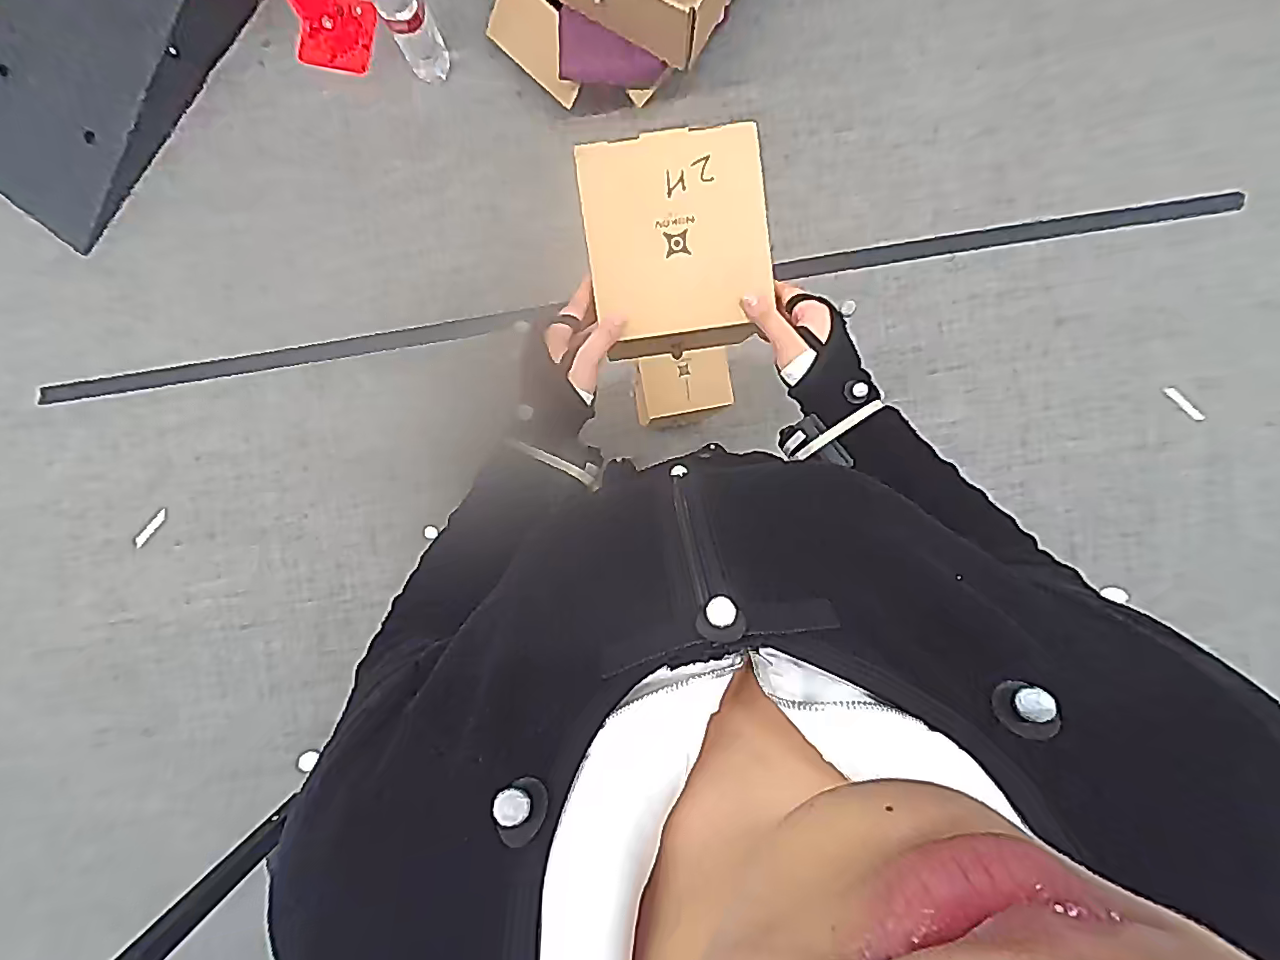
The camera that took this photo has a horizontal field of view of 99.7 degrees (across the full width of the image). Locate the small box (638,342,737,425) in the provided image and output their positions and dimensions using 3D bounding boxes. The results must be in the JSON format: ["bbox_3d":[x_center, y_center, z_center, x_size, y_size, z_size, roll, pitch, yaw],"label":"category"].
[{"bbox_3d":[0.088,-0.214,1.086,0.168,0.176,0.179,-10,92,1],"label":"small box"}]

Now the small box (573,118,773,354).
[{"bbox_3d":[0.032,-0.232,0.566,0.168,0.176,0.179,-8,96,1],"label":"small box"}]

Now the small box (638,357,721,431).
[{"bbox_3d":[0.086,-0.217,1.251,0.168,0.176,0.179,-10,90,1],"label":"small box"}]
